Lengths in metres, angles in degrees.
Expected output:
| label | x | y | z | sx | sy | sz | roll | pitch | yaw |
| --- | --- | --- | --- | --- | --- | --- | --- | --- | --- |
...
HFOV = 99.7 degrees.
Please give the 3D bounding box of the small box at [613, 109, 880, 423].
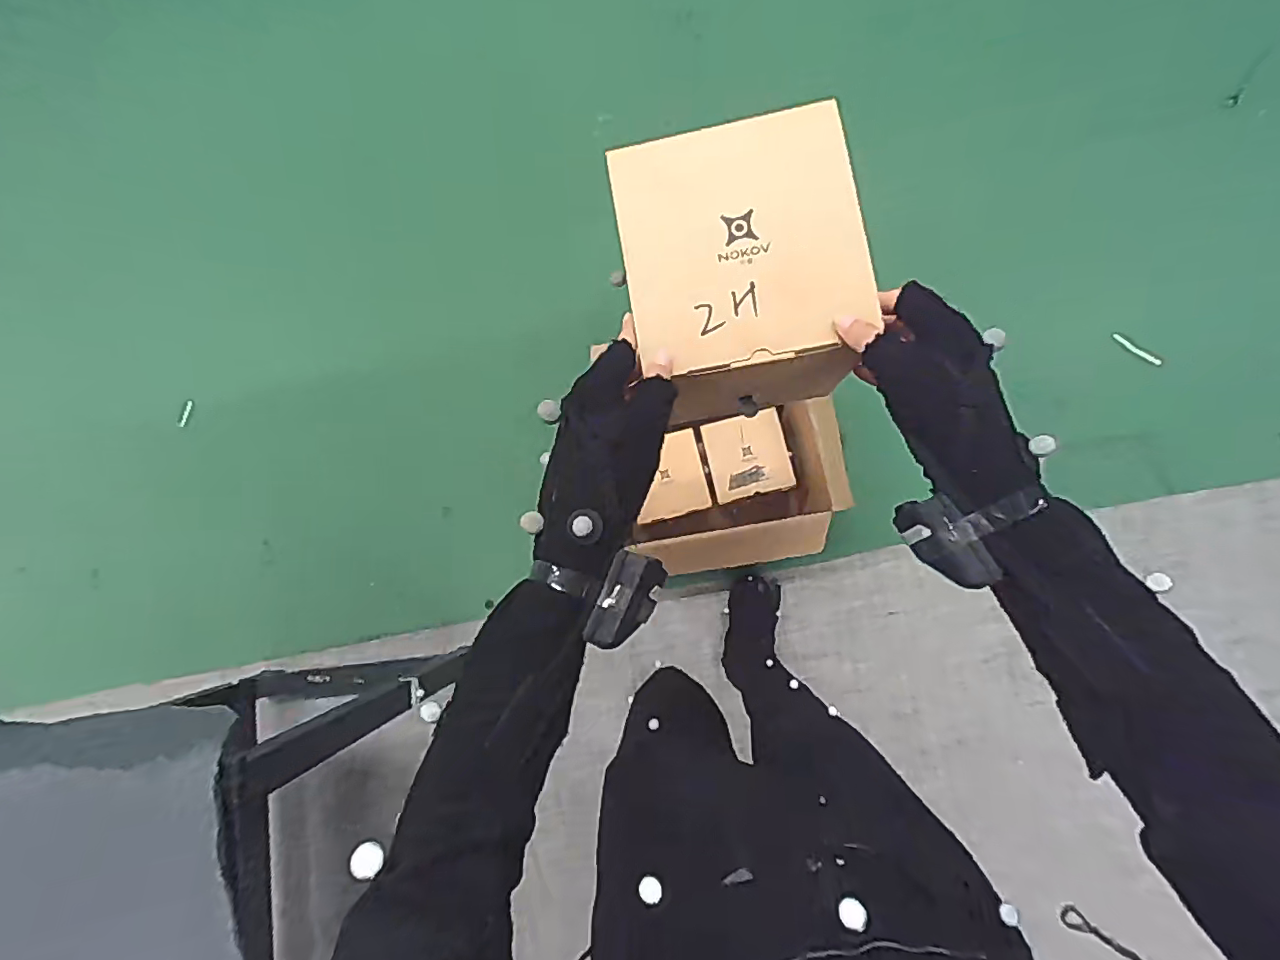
| label | x | y | z | sx | sy | sz | roll | pitch | yaw |
| --- | --- | --- | --- | --- | --- | --- | --- | --- | --- |
| small box | 0.078 | -0.159 | 0.459 | 0.168 | 0.176 | 0.179 | -10 | 85 | 6 |
